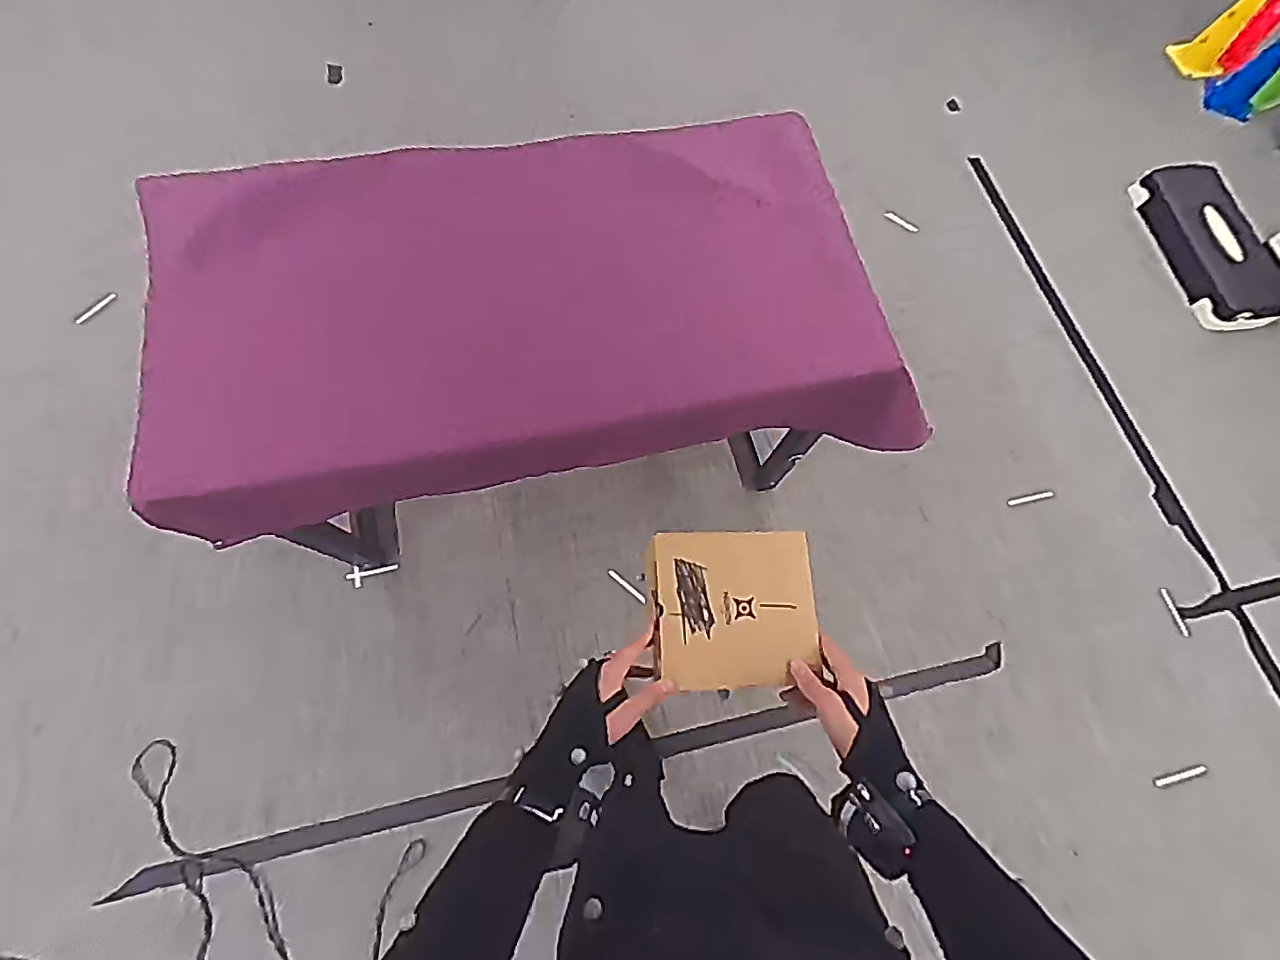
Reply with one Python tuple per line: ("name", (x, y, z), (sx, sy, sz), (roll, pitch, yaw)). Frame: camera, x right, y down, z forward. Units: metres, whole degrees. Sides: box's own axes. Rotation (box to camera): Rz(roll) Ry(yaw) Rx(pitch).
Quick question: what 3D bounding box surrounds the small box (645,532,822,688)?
("small box", (0.097, 0.160, 0.656), (0.179, 0.176, 0.168), (-1, 73, -5))
